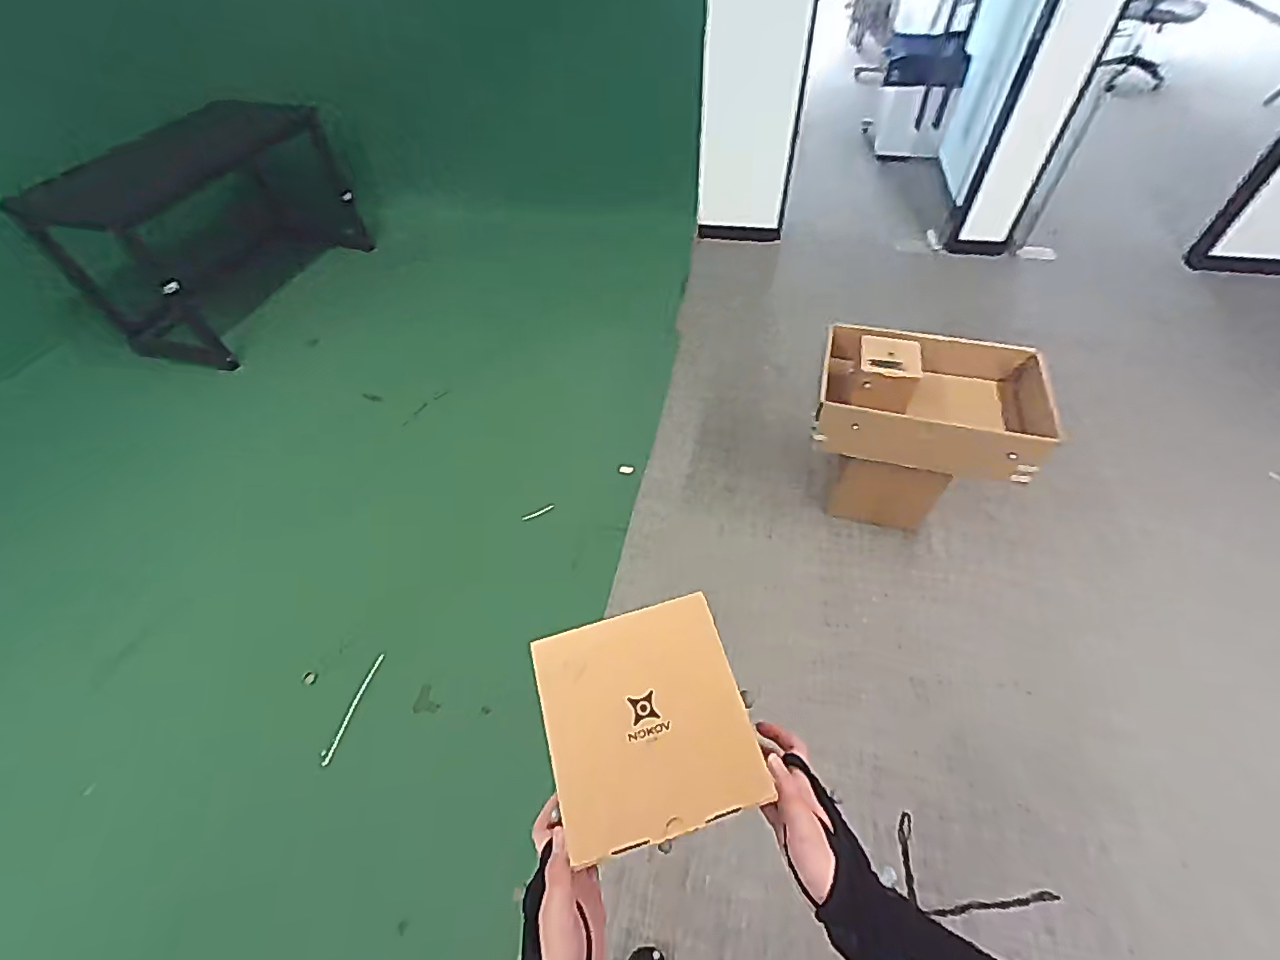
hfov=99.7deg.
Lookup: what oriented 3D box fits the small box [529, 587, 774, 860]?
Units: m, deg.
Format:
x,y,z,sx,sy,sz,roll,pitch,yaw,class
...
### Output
x,y,z,sx,sy,sz,roll,pitch,yaw,class
0.003,0.228,0.509,0.168,0.176,0.179,-14,60,-7,small box
